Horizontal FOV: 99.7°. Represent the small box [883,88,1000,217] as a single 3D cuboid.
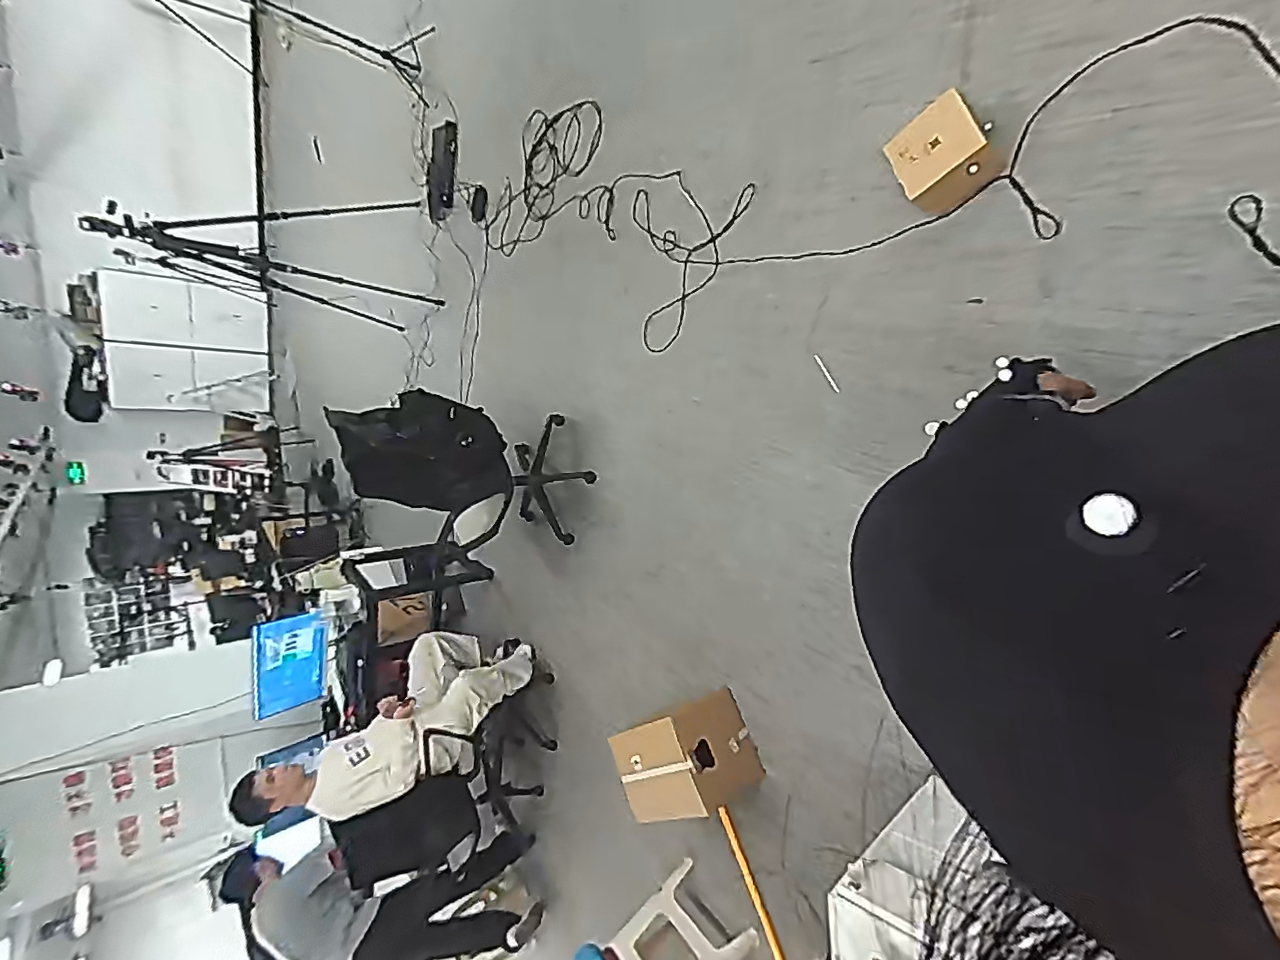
[{"bbox_3d":[0.723,-0.767,1.285,0.179,0.176,0.168,-32,70,45],"label":"small box"}]
